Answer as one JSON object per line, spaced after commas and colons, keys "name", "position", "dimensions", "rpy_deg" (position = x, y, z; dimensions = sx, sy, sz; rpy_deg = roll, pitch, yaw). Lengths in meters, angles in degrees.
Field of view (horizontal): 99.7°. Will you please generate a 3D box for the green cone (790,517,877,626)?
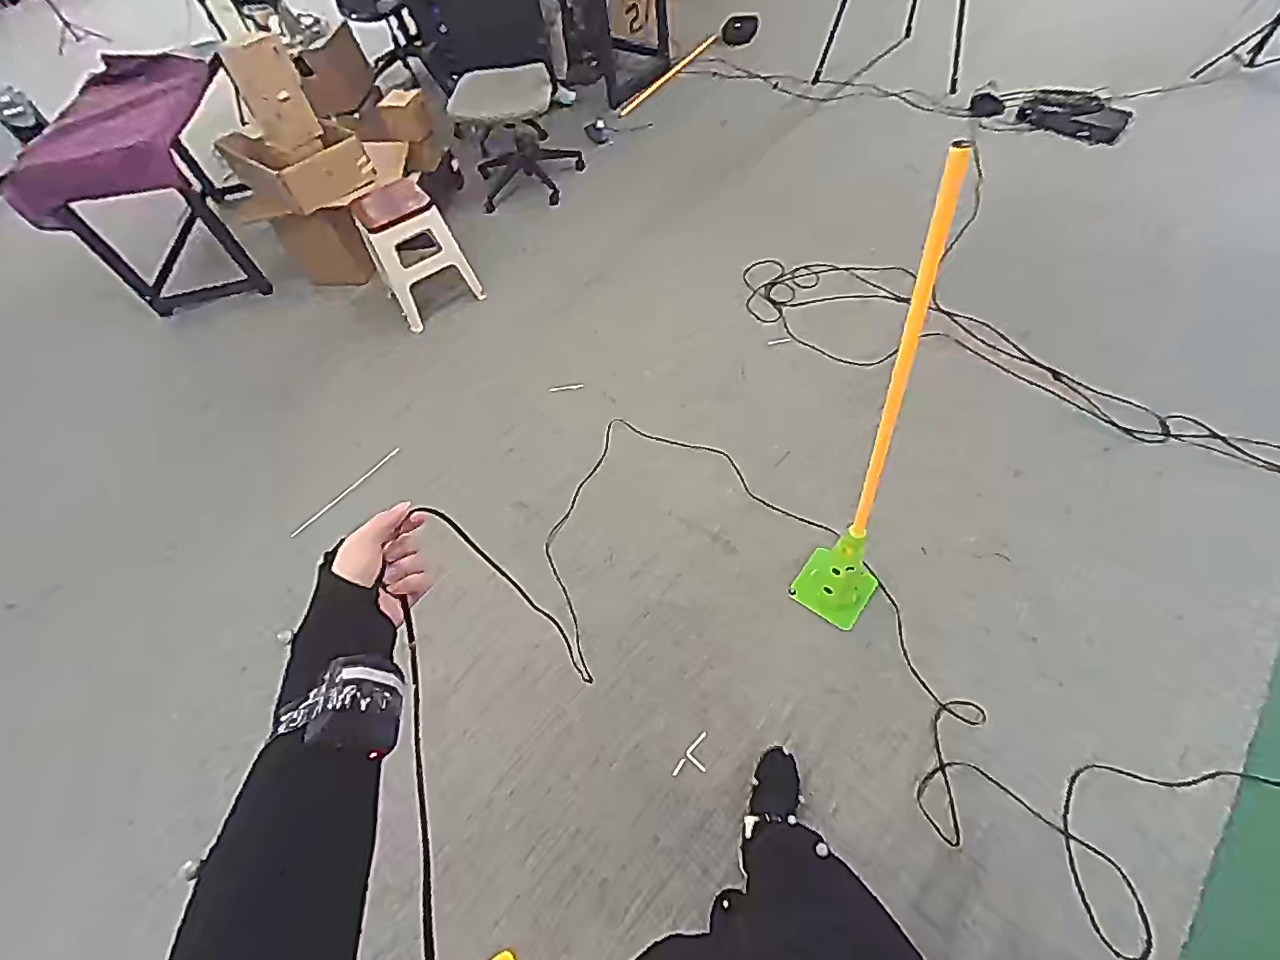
{"name": "green cone", "position": [0.554, 0.210, 1.451], "dimensions": [0.200, 0.368, 0.202], "rpy_deg": [31, 64, 24]}
